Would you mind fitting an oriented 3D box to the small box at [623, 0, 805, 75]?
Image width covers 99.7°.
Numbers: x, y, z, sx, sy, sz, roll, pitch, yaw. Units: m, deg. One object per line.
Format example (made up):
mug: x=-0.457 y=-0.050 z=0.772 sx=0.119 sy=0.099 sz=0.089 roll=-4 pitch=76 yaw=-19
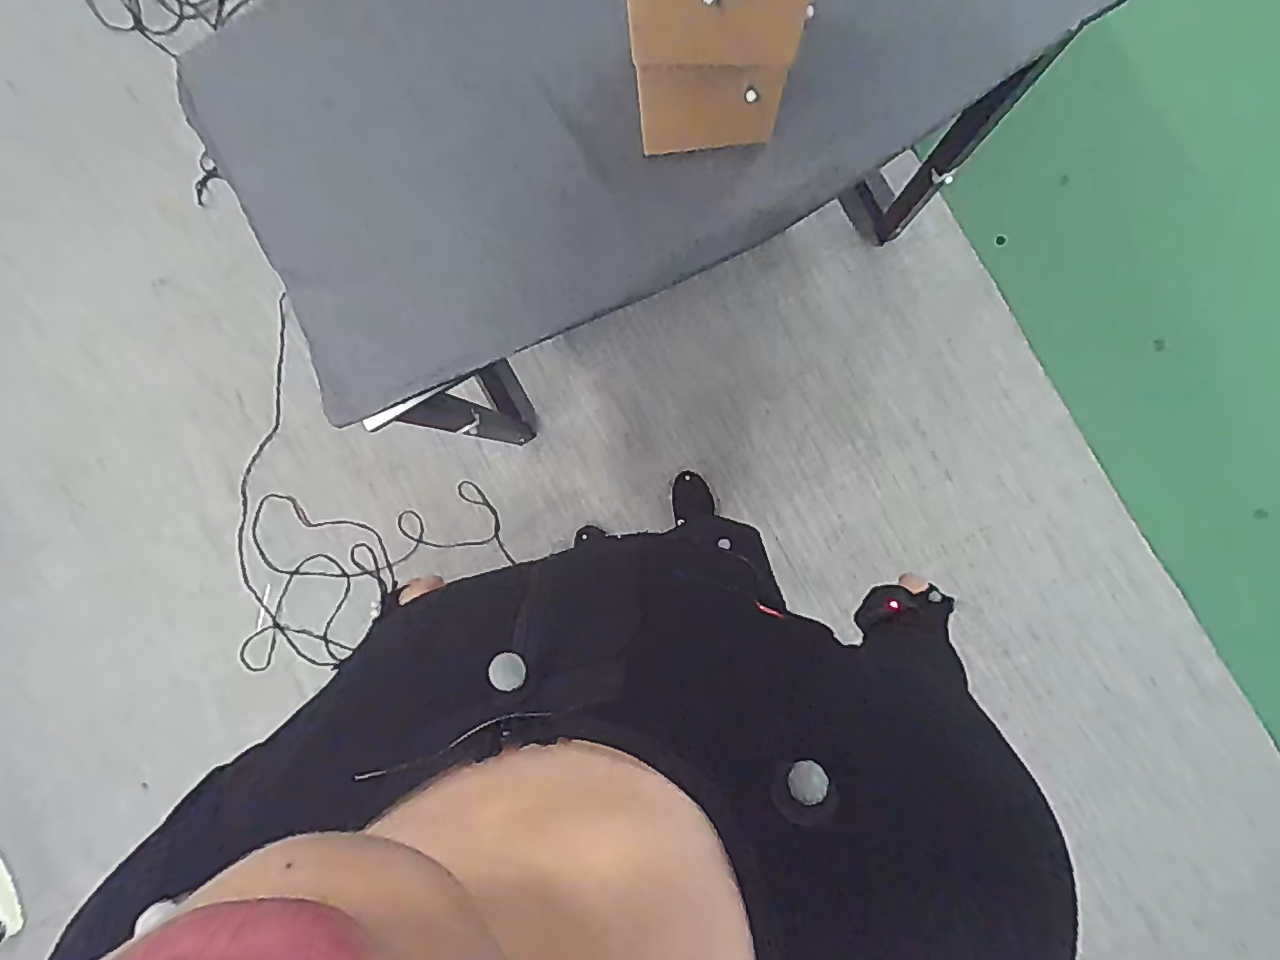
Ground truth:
small box: x=0.075 y=-0.526 z=0.514 sx=0.179 sy=0.176 sz=0.168 roll=3 pitch=89 yaw=4
